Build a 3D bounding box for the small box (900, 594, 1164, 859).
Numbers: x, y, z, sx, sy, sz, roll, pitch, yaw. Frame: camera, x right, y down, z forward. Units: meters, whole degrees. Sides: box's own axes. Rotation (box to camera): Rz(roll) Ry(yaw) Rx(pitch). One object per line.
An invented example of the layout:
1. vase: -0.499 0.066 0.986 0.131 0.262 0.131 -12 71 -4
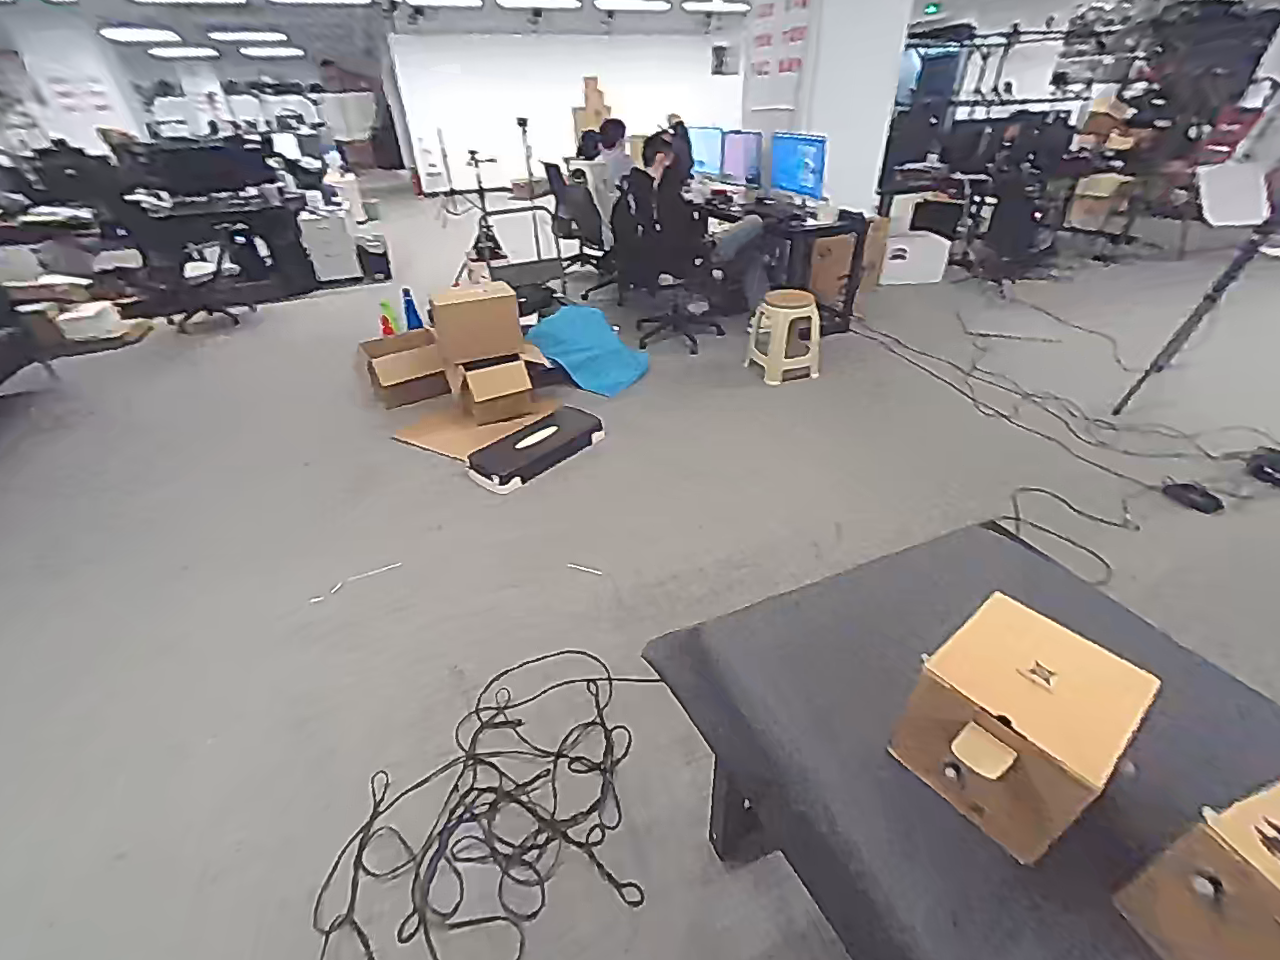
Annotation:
1. small box: 0.426 0.271 0.612 0.179 0.176 0.168 -25 41 -29
